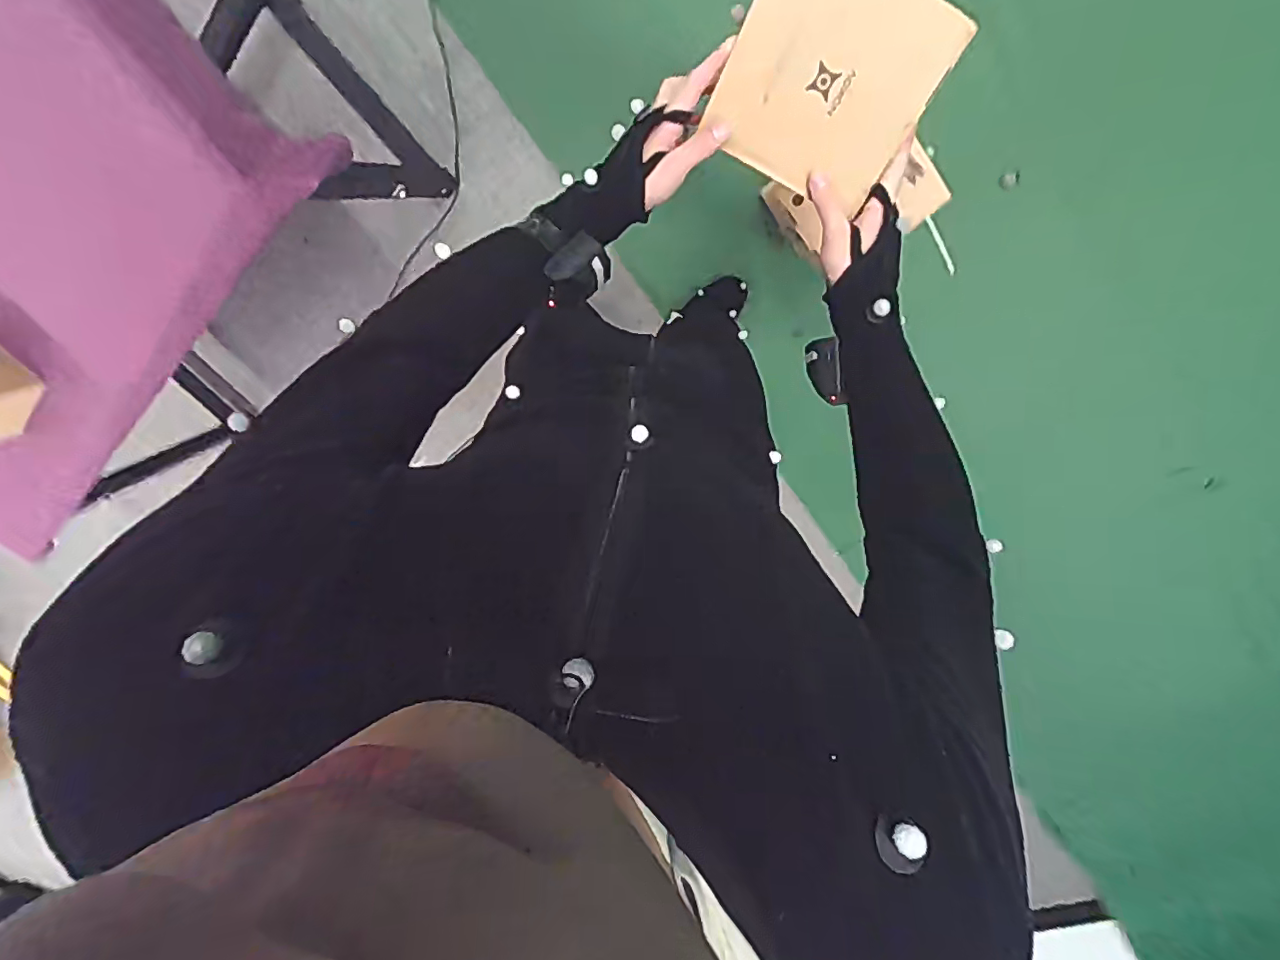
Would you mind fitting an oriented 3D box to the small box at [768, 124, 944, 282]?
[{"bbox_3d":[0.310,-0.427,0.810,0.179,0.176,0.168,-34,106,25],"label":"small box"}]

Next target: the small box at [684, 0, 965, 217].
[{"bbox_3d":[0.160,-0.390,0.526,0.179,0.176,0.168,24,125,-9],"label":"small box"}]
